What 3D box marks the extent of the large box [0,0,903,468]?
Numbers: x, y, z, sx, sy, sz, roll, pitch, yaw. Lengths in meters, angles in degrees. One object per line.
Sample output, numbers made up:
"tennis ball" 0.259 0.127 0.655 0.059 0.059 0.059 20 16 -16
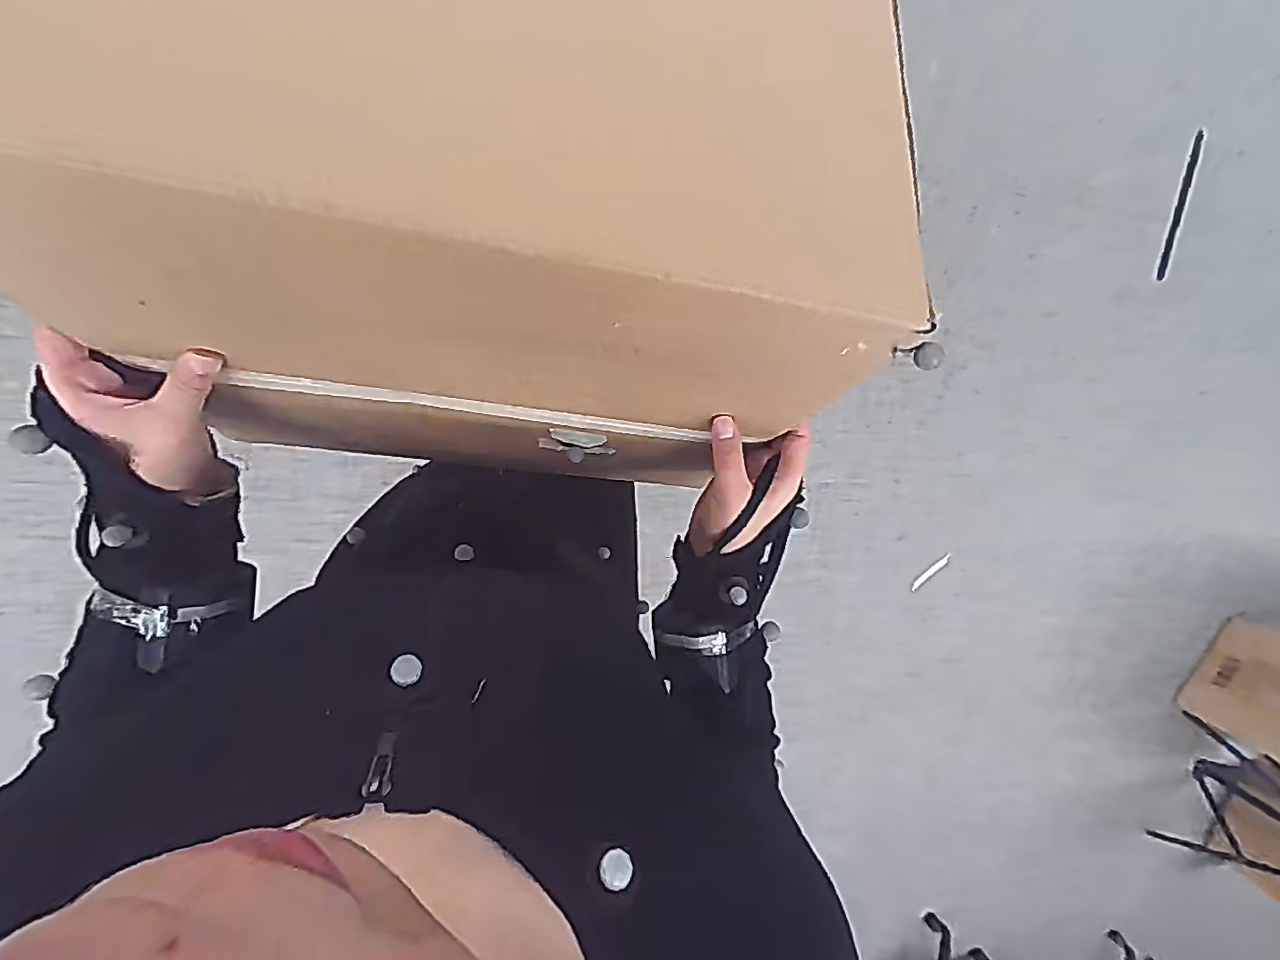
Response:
"large box" -0.107 -0.205 0.374 0.408 0.320 0.320 4 77 -13
